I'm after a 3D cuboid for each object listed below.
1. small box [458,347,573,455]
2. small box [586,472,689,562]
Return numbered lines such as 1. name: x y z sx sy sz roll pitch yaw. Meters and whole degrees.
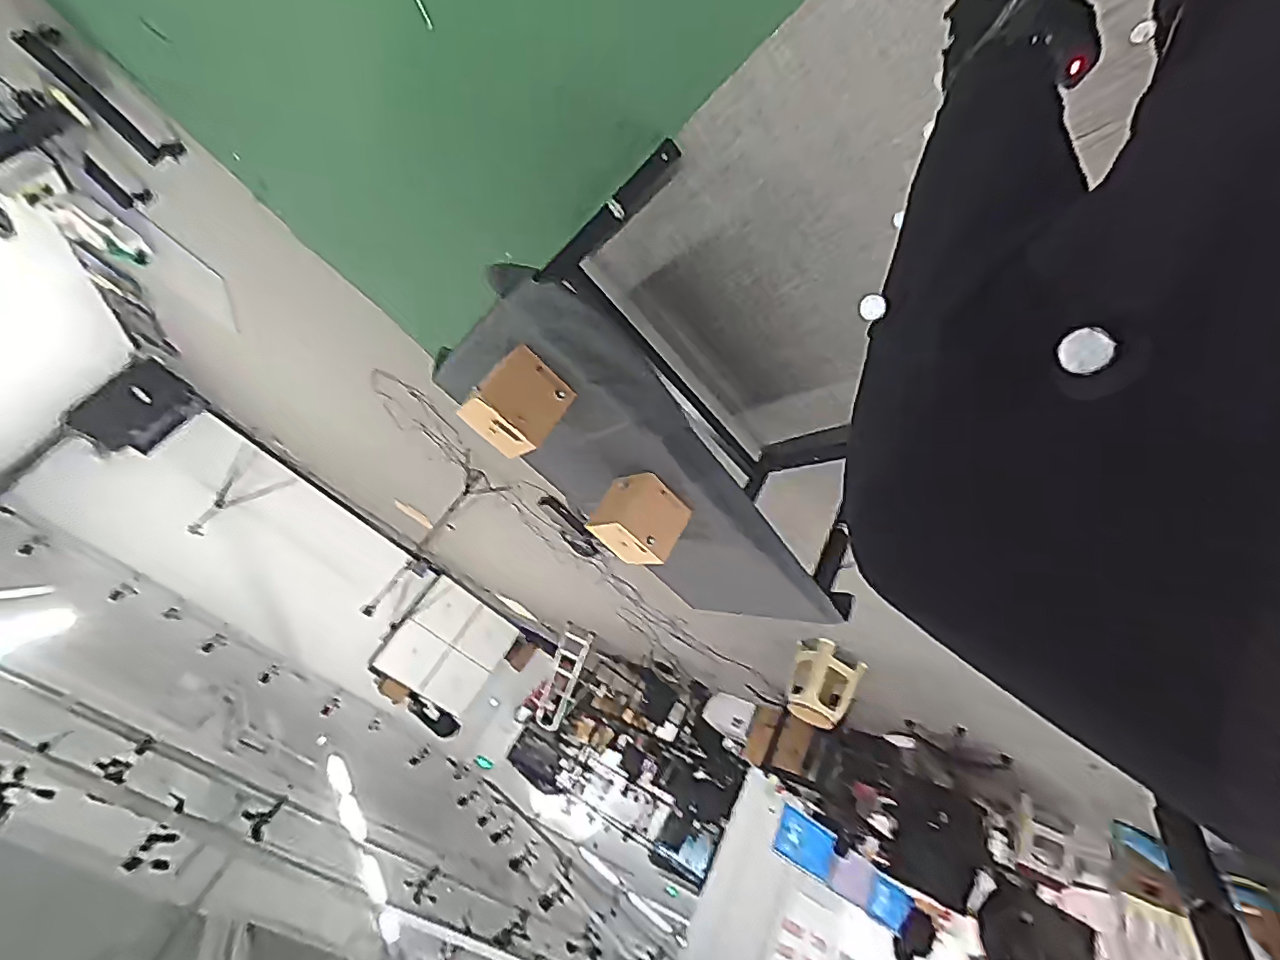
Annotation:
1. small box: -0.281 -0.181 1.248 0.168 0.176 0.179 44 153 -23
2. small box: -0.004 0.097 1.418 0.168 0.176 0.179 44 153 -21
